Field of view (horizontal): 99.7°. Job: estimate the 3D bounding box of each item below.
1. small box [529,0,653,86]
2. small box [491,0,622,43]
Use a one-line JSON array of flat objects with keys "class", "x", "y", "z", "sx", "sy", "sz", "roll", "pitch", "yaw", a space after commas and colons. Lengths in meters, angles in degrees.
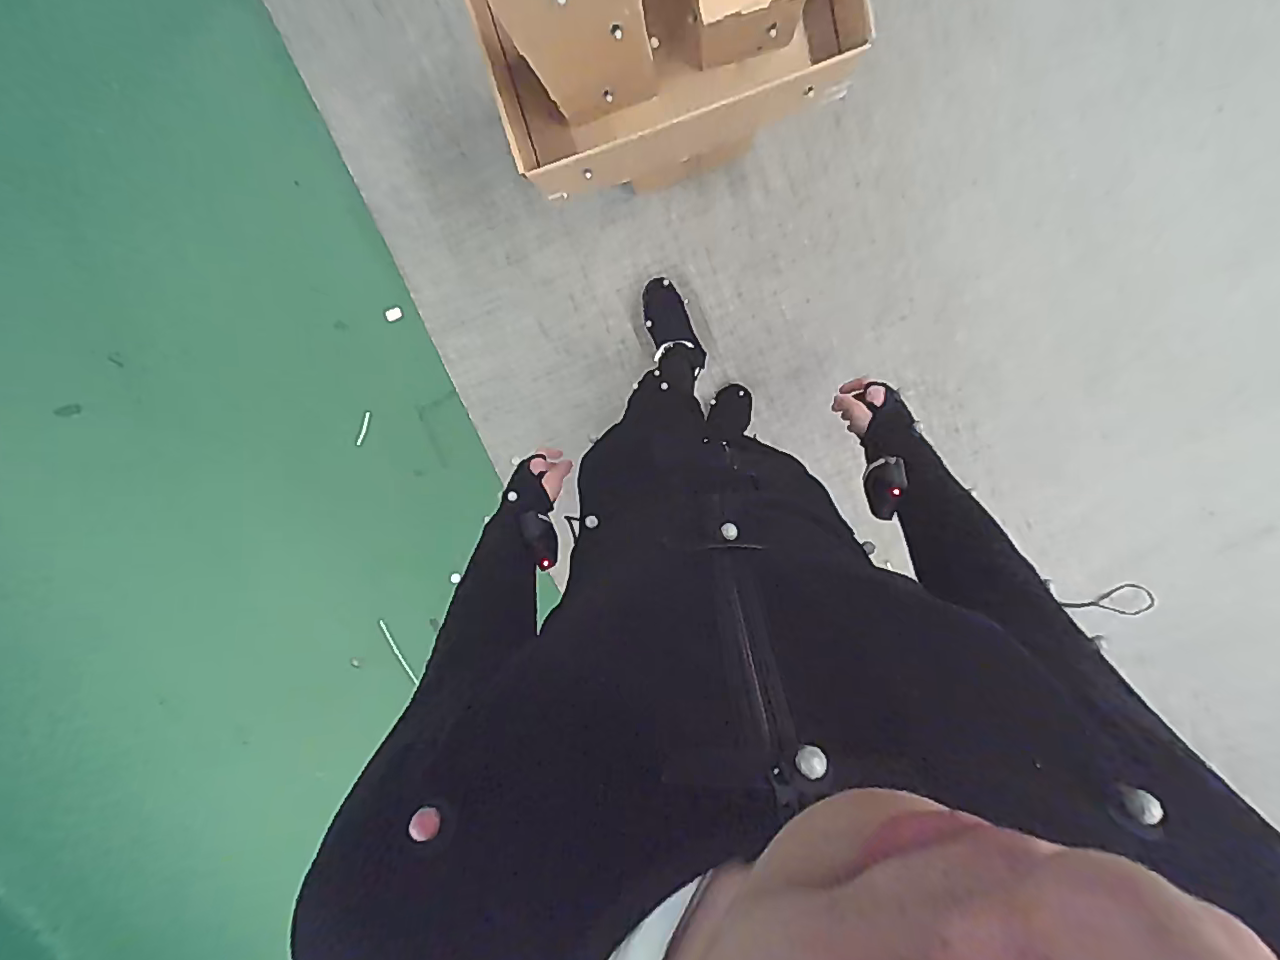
[{"class": "small box", "x": -0.091, "y": -0.715, "z": 0.781, "sx": 0.179, "sy": 0.176, "sz": 0.168, "roll": -14, "pitch": 104, "yaw": 11}, {"class": "small box", "x": -0.112, "y": -0.664, "z": 0.626, "sx": 0.179, "sy": 0.176, "sz": 0.168, "roll": -15, "pitch": 104, "yaw": 12}]
